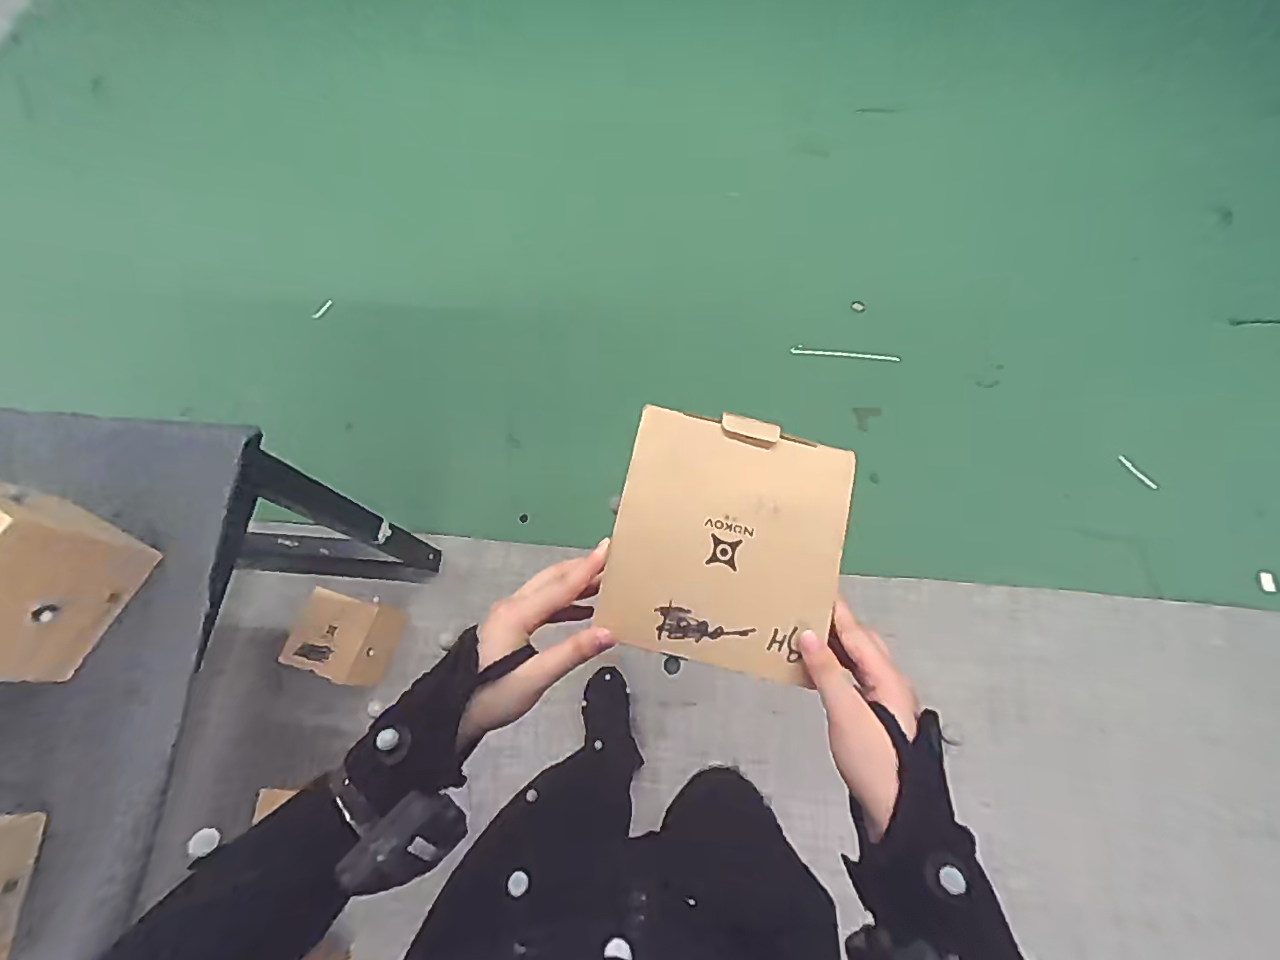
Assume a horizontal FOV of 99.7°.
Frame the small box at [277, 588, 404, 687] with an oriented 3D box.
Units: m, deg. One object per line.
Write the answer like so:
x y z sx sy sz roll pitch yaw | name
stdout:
-0.687 0.373 1.266 0.168 0.176 0.179 17 70 7 | small box

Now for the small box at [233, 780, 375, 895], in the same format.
-0.688 0.738 1.134 0.179 0.176 0.168 2 69 3 | small box

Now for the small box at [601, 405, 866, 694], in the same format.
0.066 0.060 0.463 0.168 0.176 0.179 14 79 1 | small box

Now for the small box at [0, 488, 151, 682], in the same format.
-0.706 0.107 0.585 0.179 0.176 0.168 24 72 12 | small box
